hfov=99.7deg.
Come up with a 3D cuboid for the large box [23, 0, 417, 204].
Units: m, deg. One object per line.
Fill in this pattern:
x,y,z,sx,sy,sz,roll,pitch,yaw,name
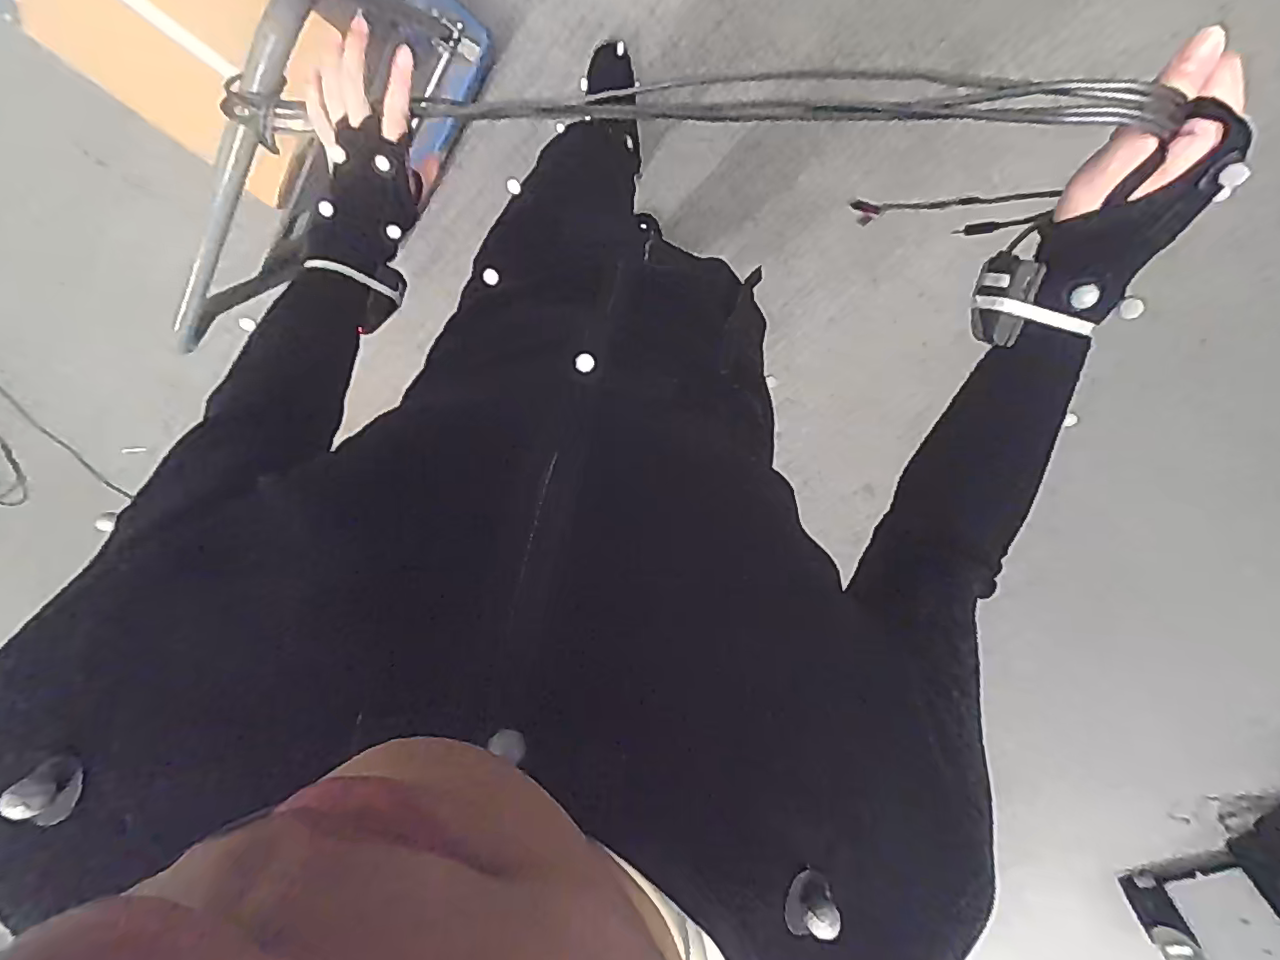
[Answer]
-0.681,-0.760,0.935,0.408,0.320,0.320,36,118,-18,large box
